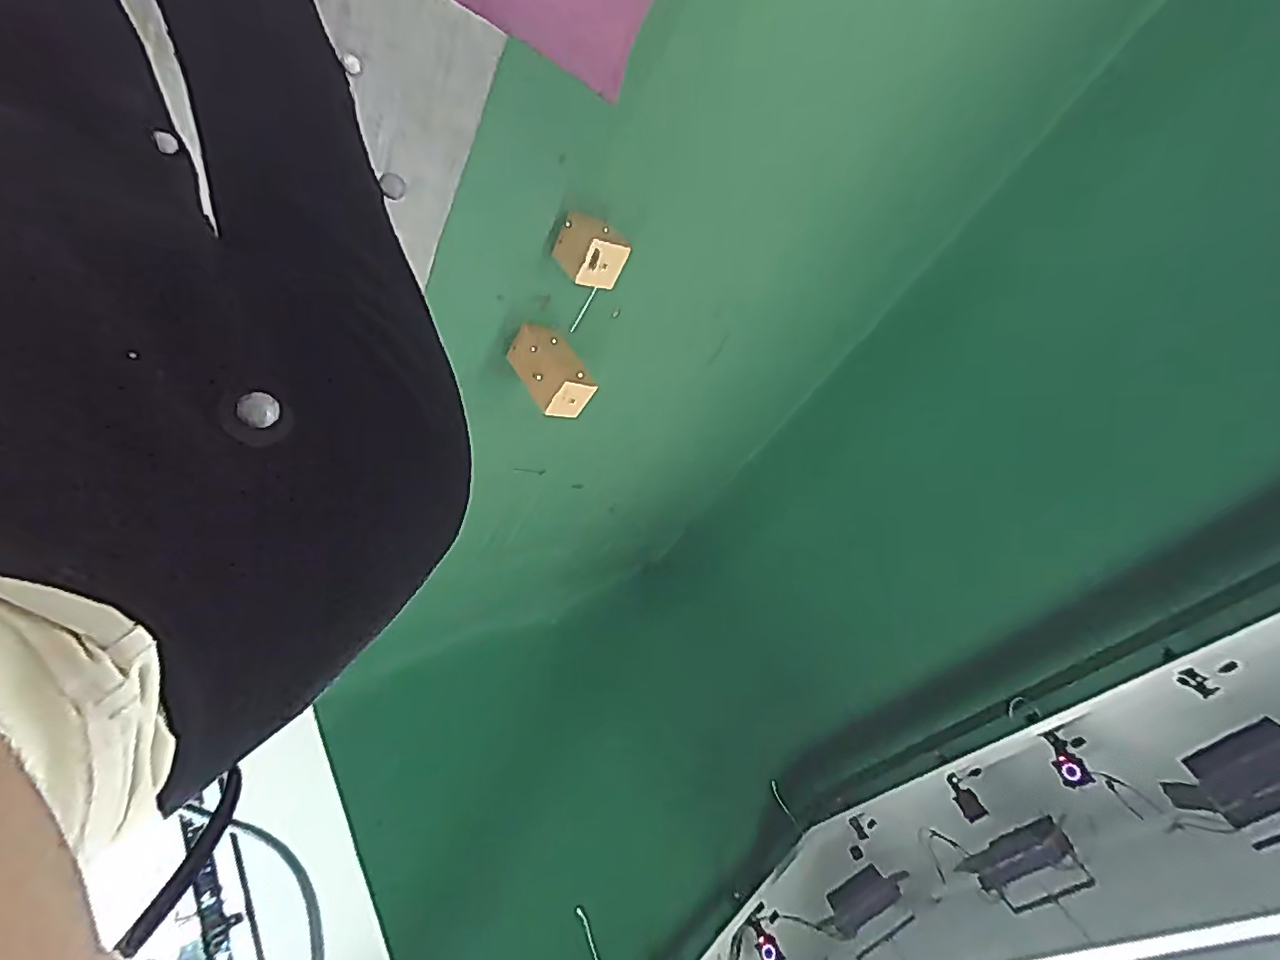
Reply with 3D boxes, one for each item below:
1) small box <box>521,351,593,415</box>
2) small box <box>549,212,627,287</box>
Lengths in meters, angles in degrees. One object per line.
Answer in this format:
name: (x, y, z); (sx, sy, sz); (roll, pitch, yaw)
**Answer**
small box: (-0.320, -0.371, 2.074); (0.179, 0.176, 0.168); (-1, 138, -52)
small box: (-0.186, -0.799, 1.873); (0.179, 0.176, 0.168); (-10, 145, -46)
